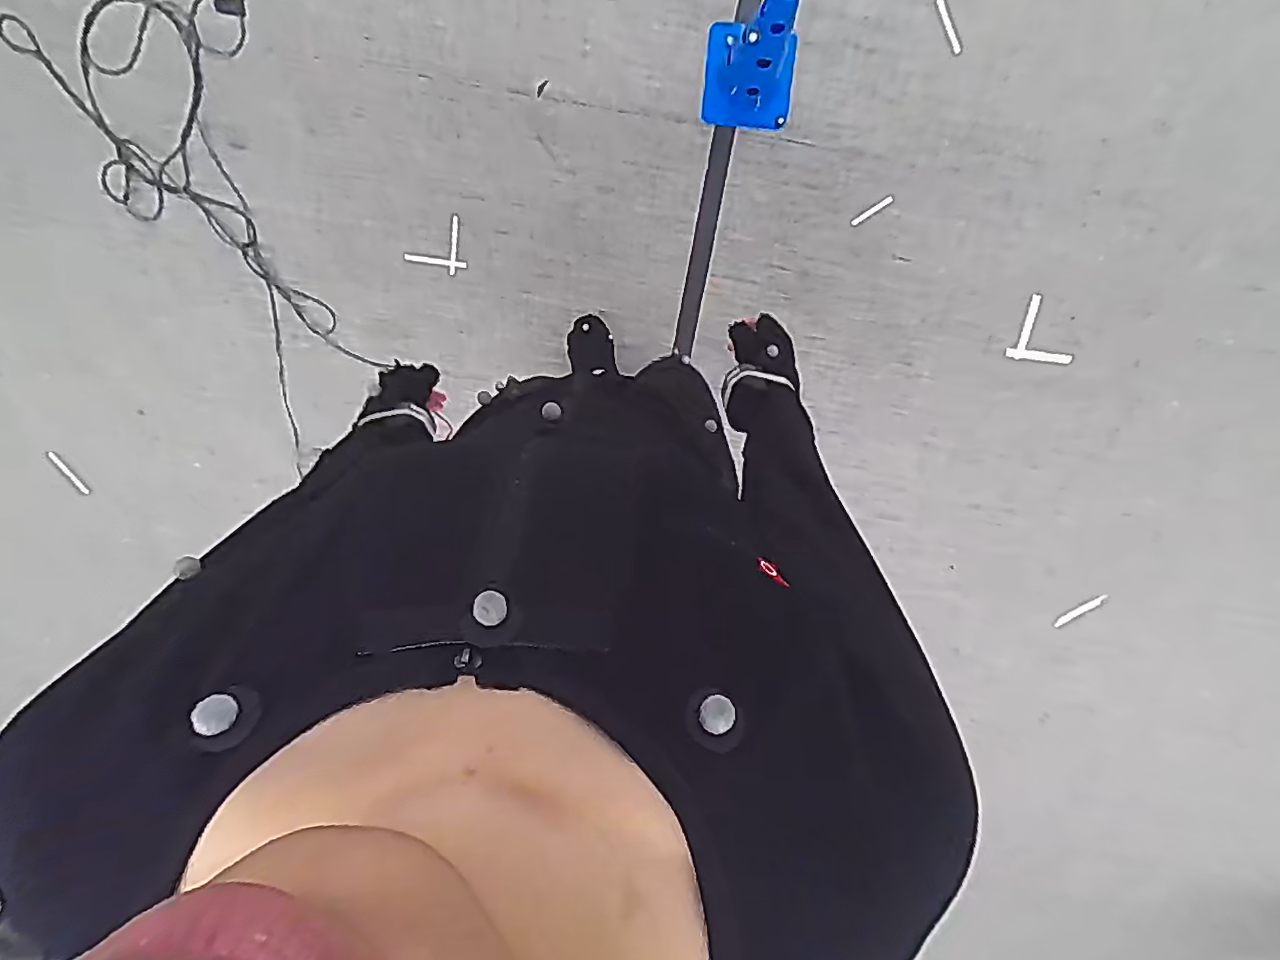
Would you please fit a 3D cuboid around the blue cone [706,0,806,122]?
[{"bbox_3d":[0.252,-0.874,1.065,0.192,0.380,0.193,5,107,-3],"label":"blue cone"}]
